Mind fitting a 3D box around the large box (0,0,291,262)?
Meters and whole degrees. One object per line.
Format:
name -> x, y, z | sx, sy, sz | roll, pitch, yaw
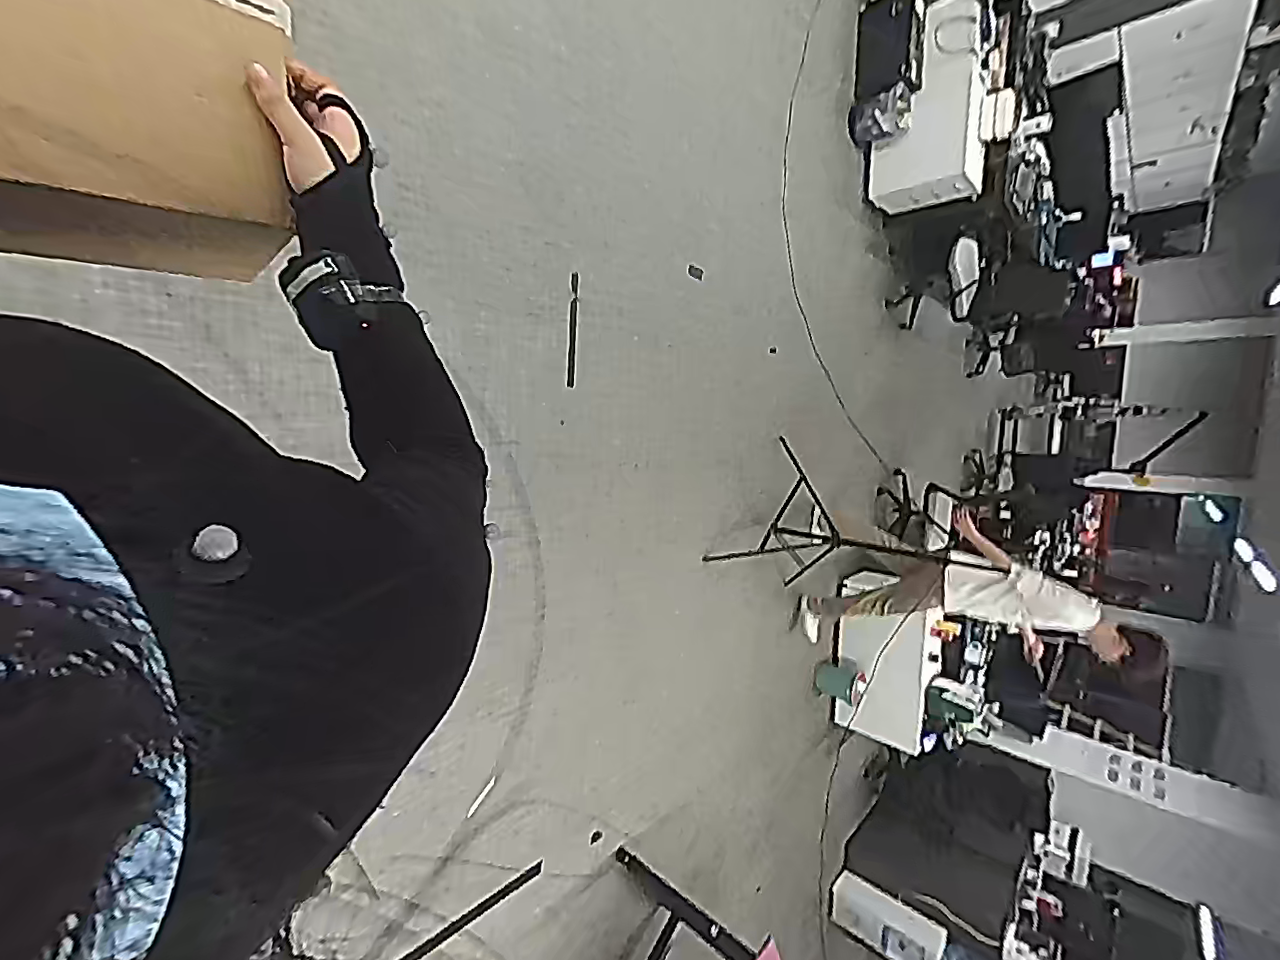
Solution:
large box -> -0.531, -0.370, 0.404 | 0.408, 0.320, 0.320 | -7, 102, -40
